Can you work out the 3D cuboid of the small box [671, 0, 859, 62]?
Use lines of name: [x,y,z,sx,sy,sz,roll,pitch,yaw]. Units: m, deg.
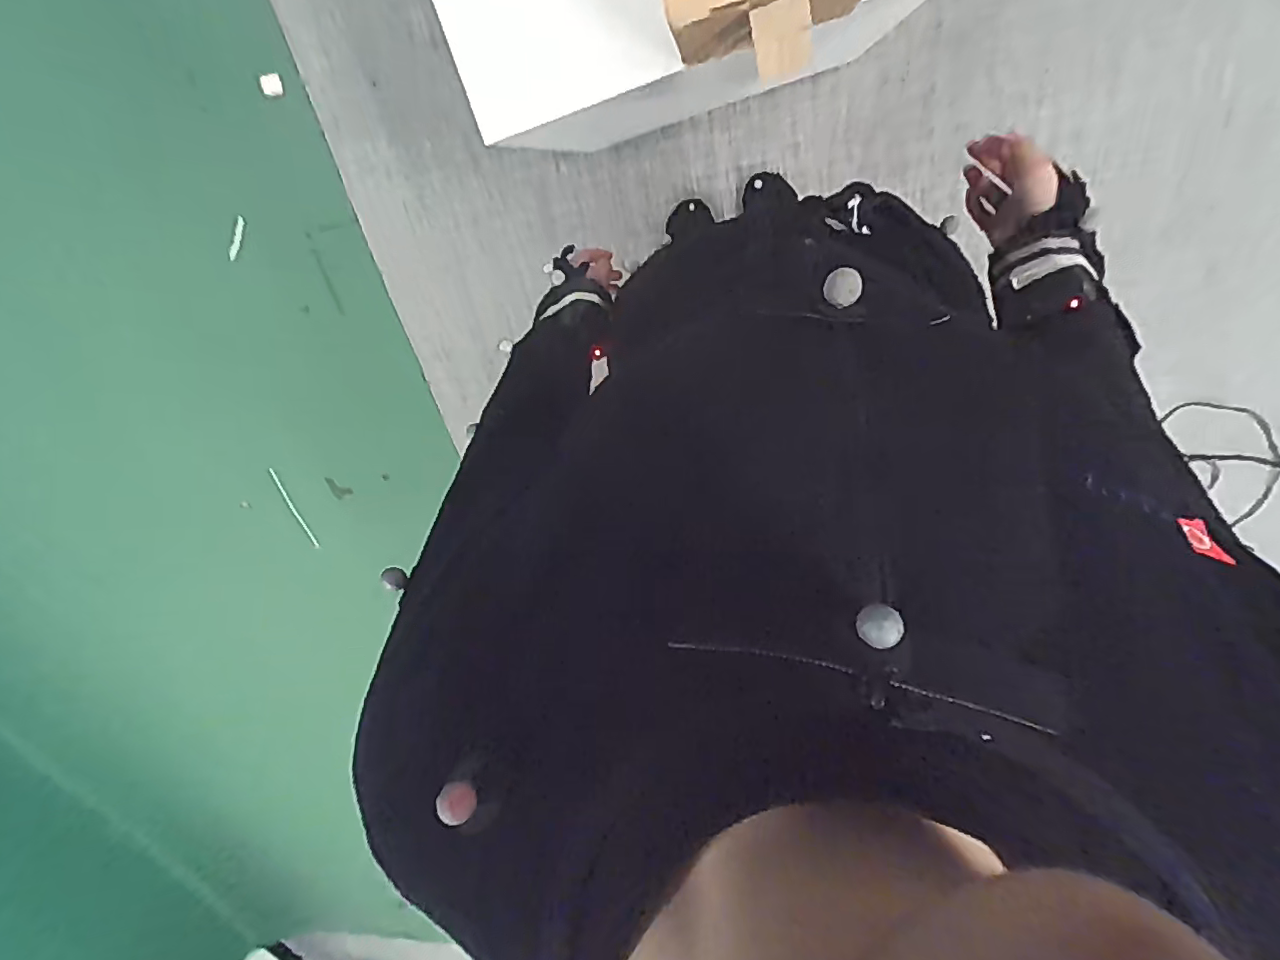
small box: [0.095,-0.469,0.423,0.168,0.176,0.179,-9,118,13]
